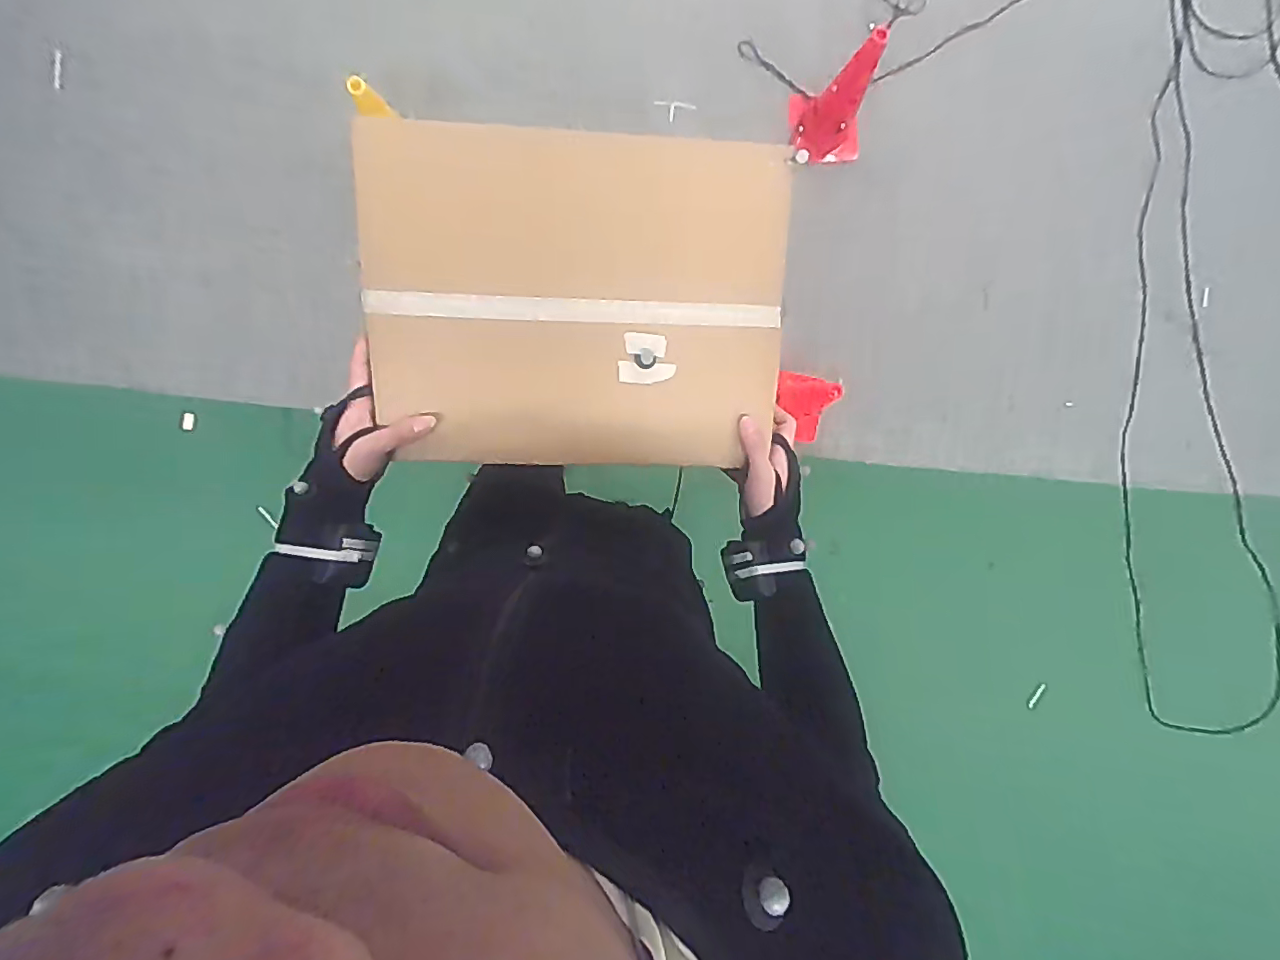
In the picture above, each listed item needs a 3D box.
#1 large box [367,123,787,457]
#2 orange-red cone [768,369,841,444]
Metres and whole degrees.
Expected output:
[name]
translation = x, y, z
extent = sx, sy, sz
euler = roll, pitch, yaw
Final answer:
[large box]
translation = -0.070, -0.207, 0.685
extent = 0.408, 0.320, 0.320
euler = 1, 103, -5
[orange-red cone]
translation = 0.455, -0.214, 1.463
extent = 0.199, 0.360, 0.198
euler = 13, 92, -4
